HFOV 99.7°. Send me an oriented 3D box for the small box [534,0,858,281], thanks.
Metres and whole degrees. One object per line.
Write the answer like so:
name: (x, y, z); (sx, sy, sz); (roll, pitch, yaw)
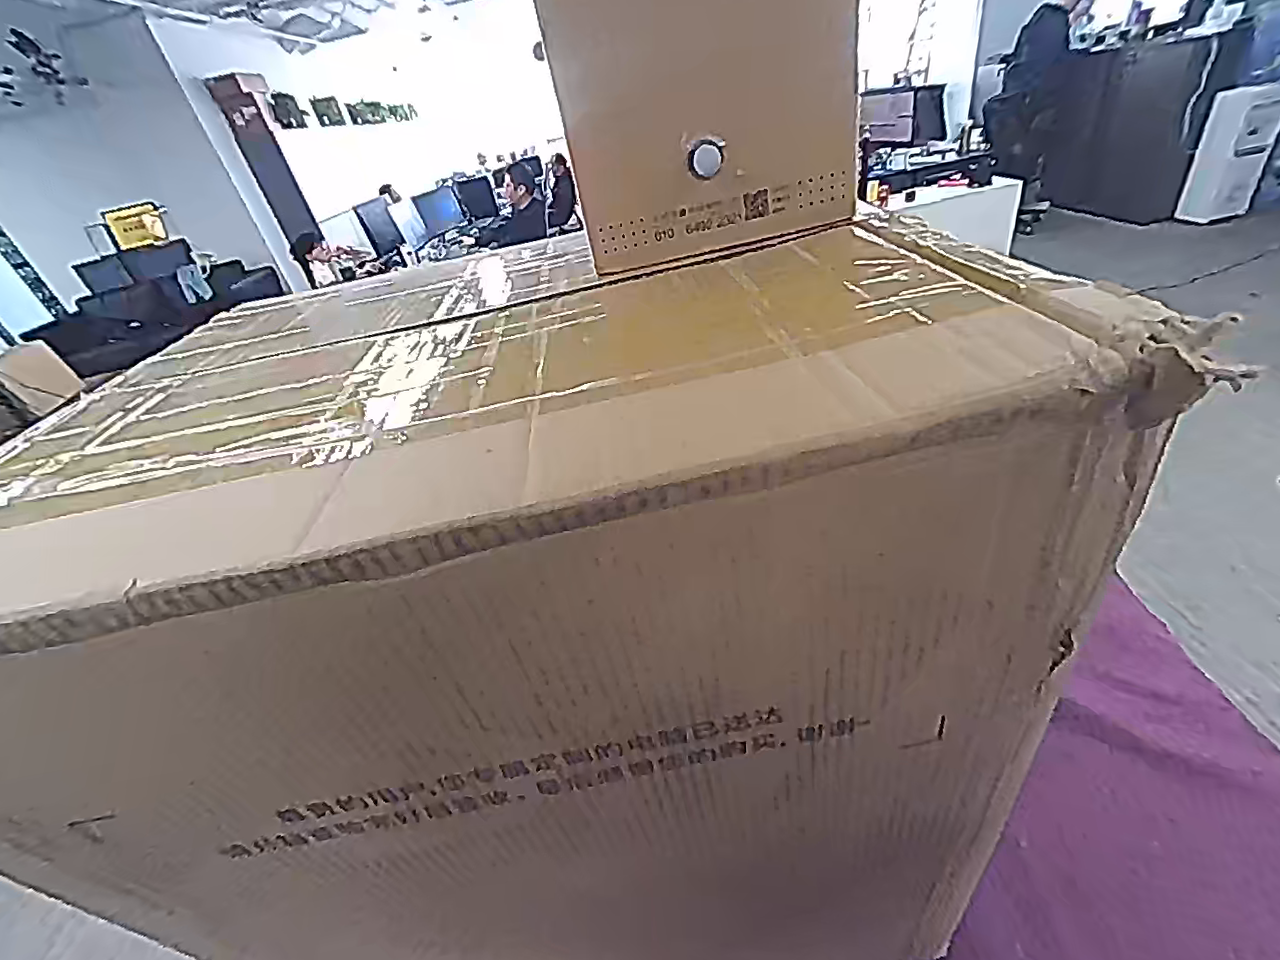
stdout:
small box: (0.033, -0.250, 0.367); (0.168, 0.176, 0.179); (-11, 35, 4)
